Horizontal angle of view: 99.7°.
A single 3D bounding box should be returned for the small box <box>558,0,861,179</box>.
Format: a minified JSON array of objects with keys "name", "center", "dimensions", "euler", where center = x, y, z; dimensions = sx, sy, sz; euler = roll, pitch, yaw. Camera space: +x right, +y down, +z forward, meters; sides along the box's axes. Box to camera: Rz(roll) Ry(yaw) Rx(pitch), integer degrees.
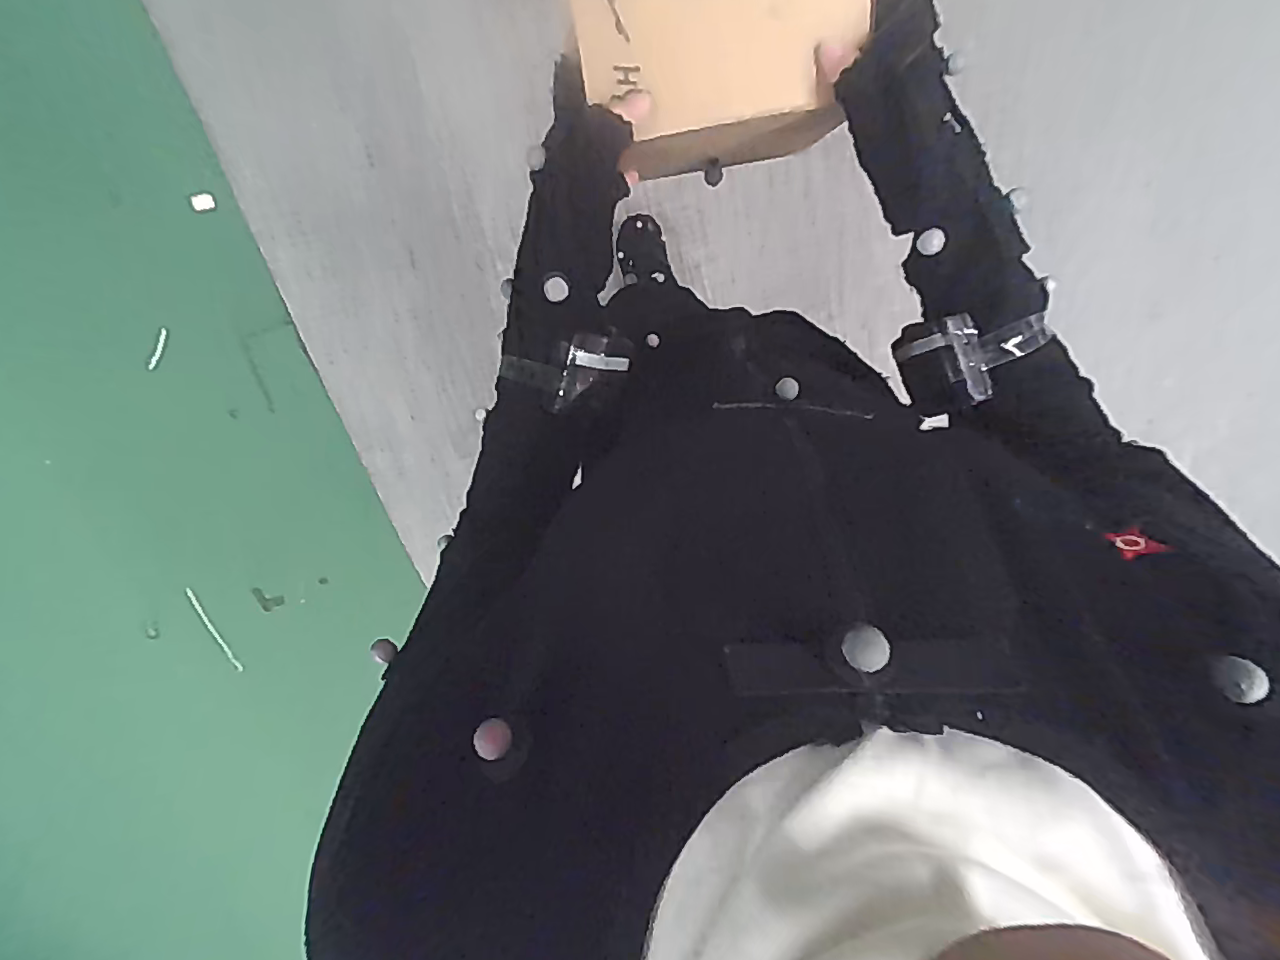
[{"name":"small box","center":[0.038,-0.324,0.380],"dimensions":[0.179,0.176,0.168],"euler":[-7,111,4]}]
